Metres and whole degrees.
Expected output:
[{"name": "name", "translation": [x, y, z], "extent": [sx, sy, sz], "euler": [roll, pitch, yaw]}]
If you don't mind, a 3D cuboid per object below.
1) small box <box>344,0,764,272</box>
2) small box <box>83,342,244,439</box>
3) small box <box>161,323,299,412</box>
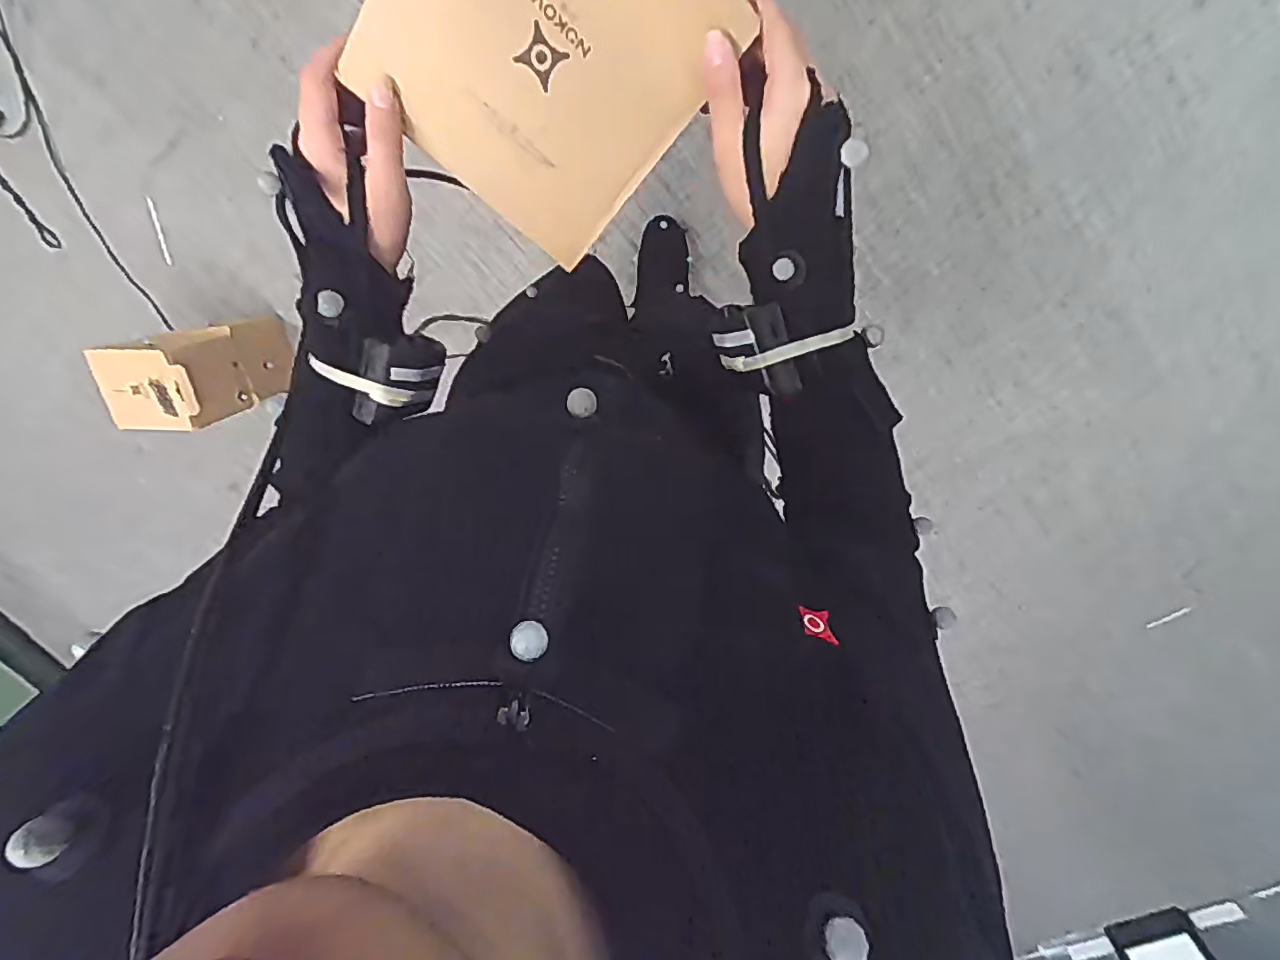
[{"name": "small box", "translation": [-0.049, -0.281, 0.356], "extent": [0.168, 0.176, 0.179], "euler": [35, 120, -23]}, {"name": "small box", "translation": [-0.980, -0.193, 1.137], "extent": [0.179, 0.176, 0.168], "euler": [2, 114, 5]}, {"name": "small box", "translation": [-0.957, -0.266, 1.284], "extent": [0.168, 0.176, 0.179], "euler": [-3, 114, 6]}]
